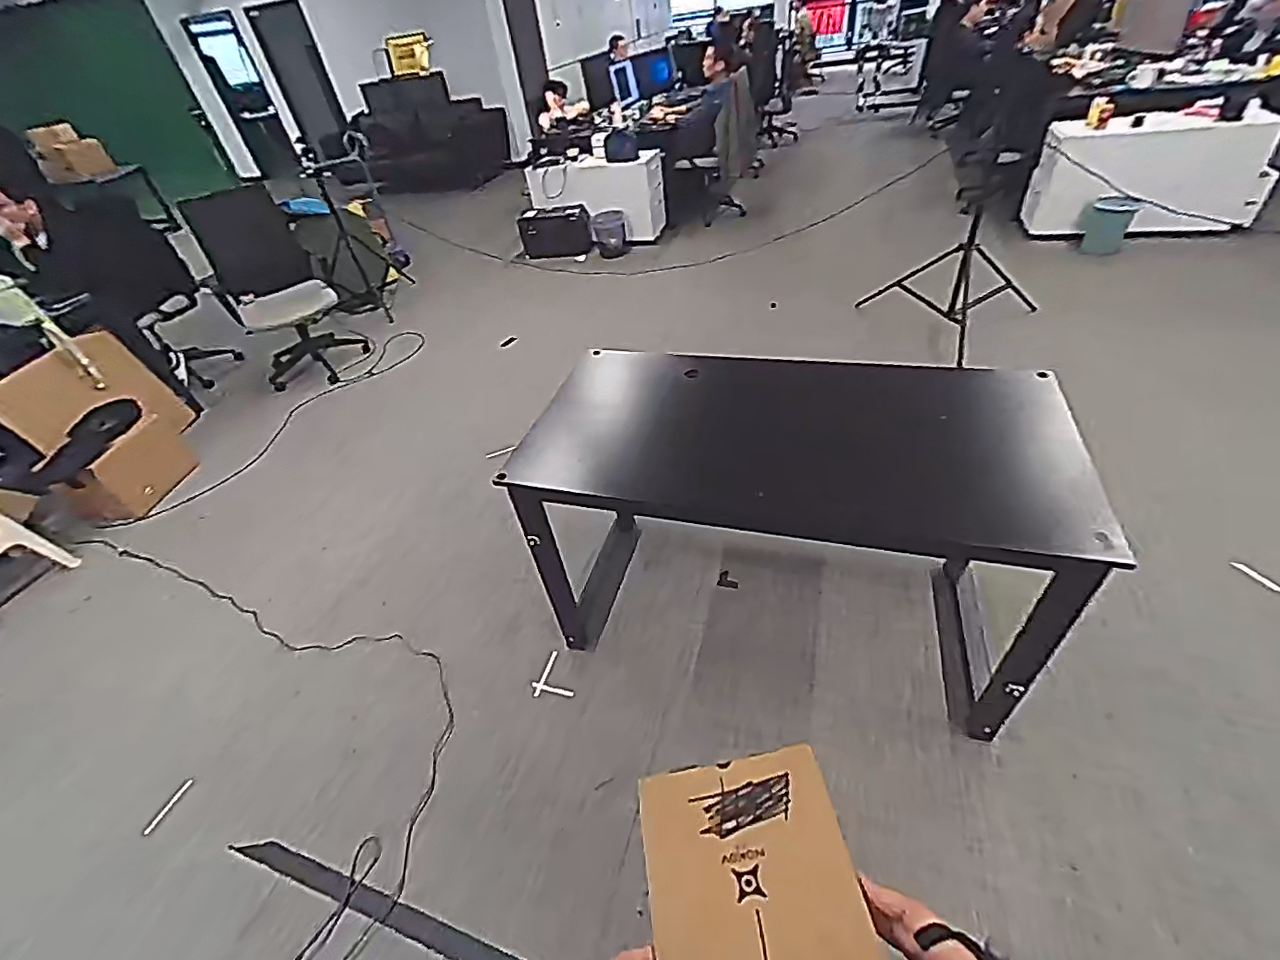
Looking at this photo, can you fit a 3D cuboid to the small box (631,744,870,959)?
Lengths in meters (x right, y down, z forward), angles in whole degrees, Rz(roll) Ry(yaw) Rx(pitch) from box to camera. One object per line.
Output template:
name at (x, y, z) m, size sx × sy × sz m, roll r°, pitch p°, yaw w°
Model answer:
small box at (0.092, 0.378, 0.495) m, size 0.168 × 0.176 × 0.179 m, roll -13°, pitch 40°, yaw 2°
